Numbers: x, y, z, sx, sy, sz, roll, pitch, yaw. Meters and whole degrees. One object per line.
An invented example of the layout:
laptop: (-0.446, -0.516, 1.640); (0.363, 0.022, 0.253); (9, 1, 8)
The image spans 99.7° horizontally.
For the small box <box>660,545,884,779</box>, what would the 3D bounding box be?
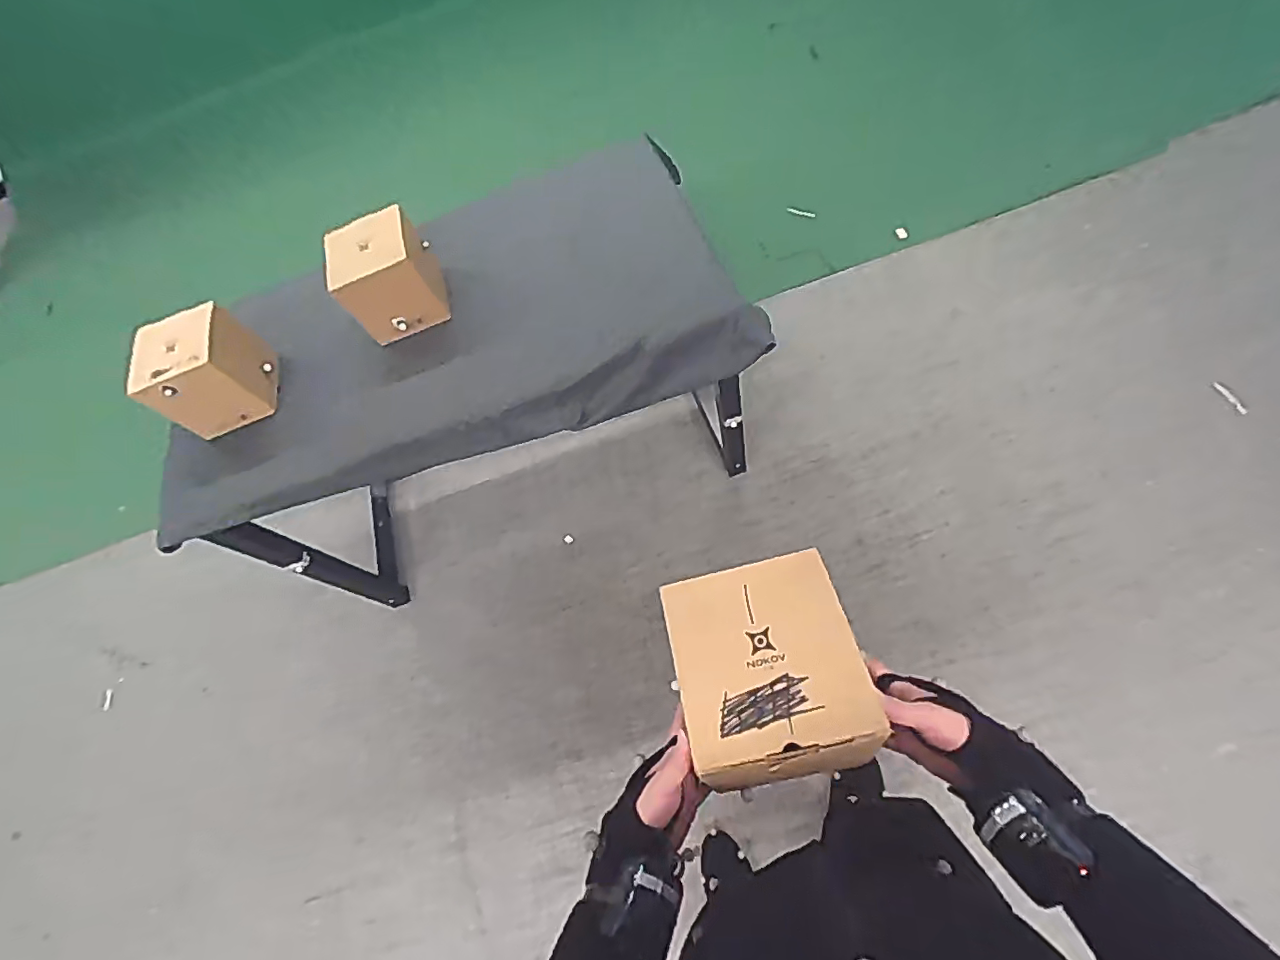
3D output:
small box: (0.128, 0.197, 0.559); (0.168, 0.176, 0.179); (-14, 53, 4)

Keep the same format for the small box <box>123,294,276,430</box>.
small box: (-0.871, -0.232, 1.090); (0.168, 0.176, 0.179); (-21, 62, 2)

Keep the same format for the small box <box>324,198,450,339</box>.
small box: (-0.513, -0.427, 1.107); (0.168, 0.176, 0.179); (-22, 64, 3)
